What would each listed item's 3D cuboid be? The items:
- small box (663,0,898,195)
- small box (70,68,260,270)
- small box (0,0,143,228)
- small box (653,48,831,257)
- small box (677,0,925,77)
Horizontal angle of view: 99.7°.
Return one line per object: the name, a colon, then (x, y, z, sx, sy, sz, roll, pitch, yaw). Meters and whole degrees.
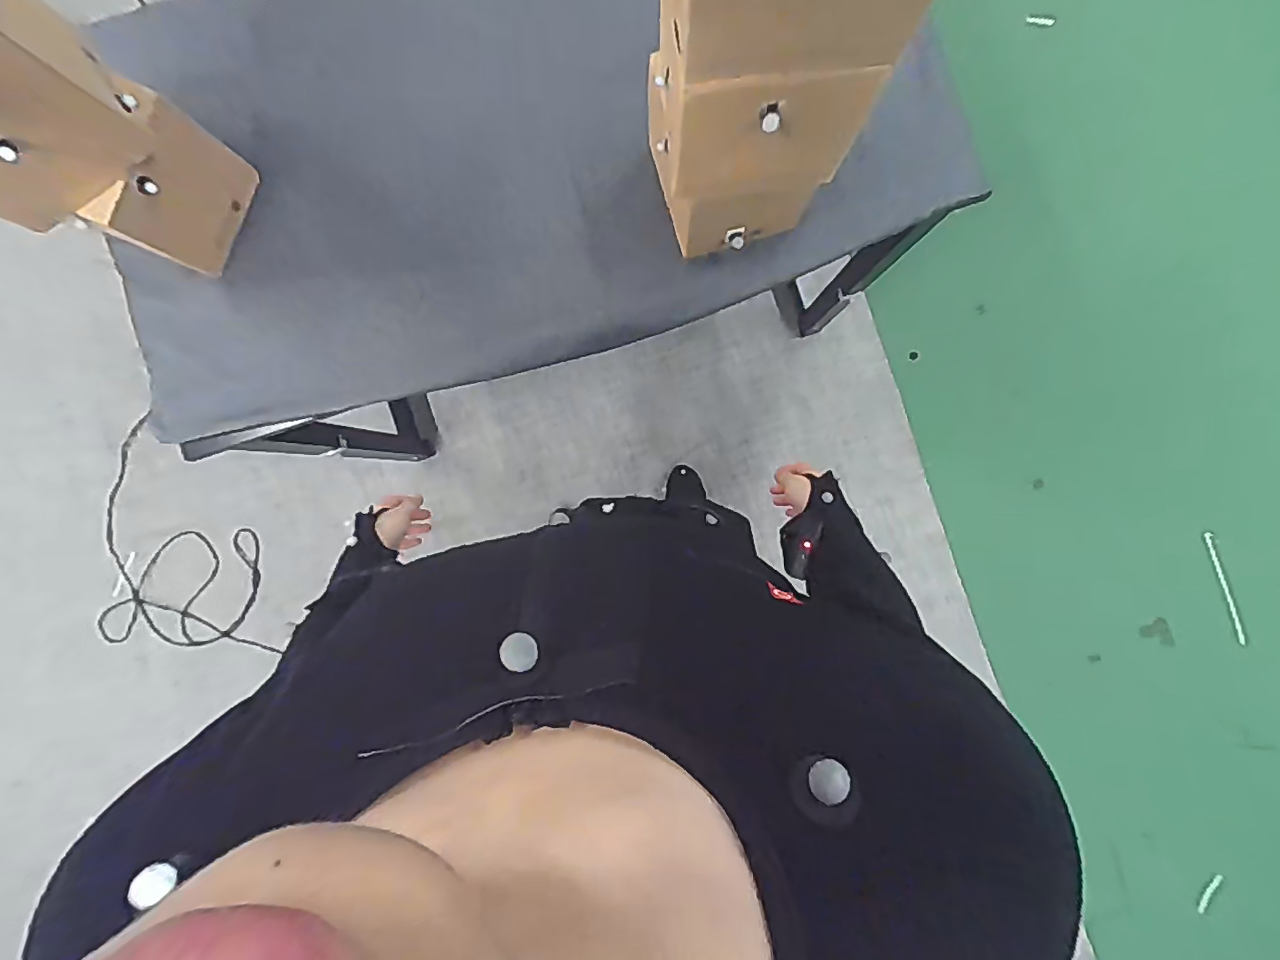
small box: (0.115, -0.400, 0.512, 0.179, 0.176, 0.168, -6, 89, 3)
small box: (-0.650, -0.397, 0.694, 0.179, 0.176, 0.168, 23, 91, 1)
small box: (-0.653, -0.392, 0.529, 0.179, 0.176, 0.168, -36, 90, 2)
small box: (0.116, -0.413, 0.675, 0.168, 0.176, 0.179, -17, 89, 2)
small box: (0.112, -0.405, 0.348, 0.179, 0.176, 0.168, -4, 89, 3)
